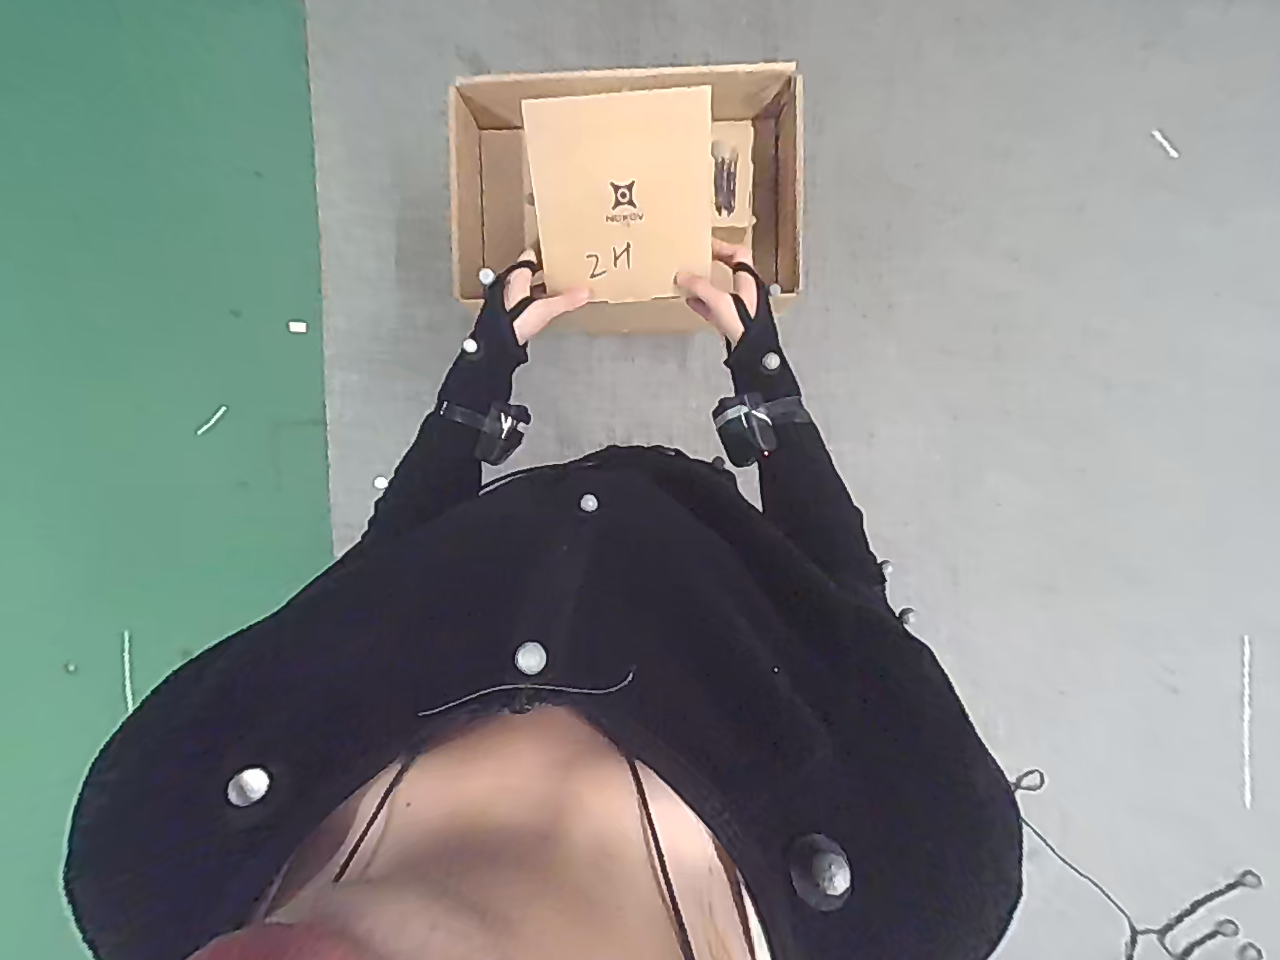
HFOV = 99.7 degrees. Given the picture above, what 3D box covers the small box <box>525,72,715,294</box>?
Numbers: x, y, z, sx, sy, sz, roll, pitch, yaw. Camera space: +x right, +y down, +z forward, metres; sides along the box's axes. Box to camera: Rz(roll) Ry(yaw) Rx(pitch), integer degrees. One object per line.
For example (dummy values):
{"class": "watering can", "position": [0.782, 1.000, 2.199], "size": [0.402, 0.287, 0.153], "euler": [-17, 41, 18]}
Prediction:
{"class": "small box", "position": [-0.015, -0.299, 0.566], "size": [0.168, 0.176, 0.179], "euler": [-2, 117, 2]}
